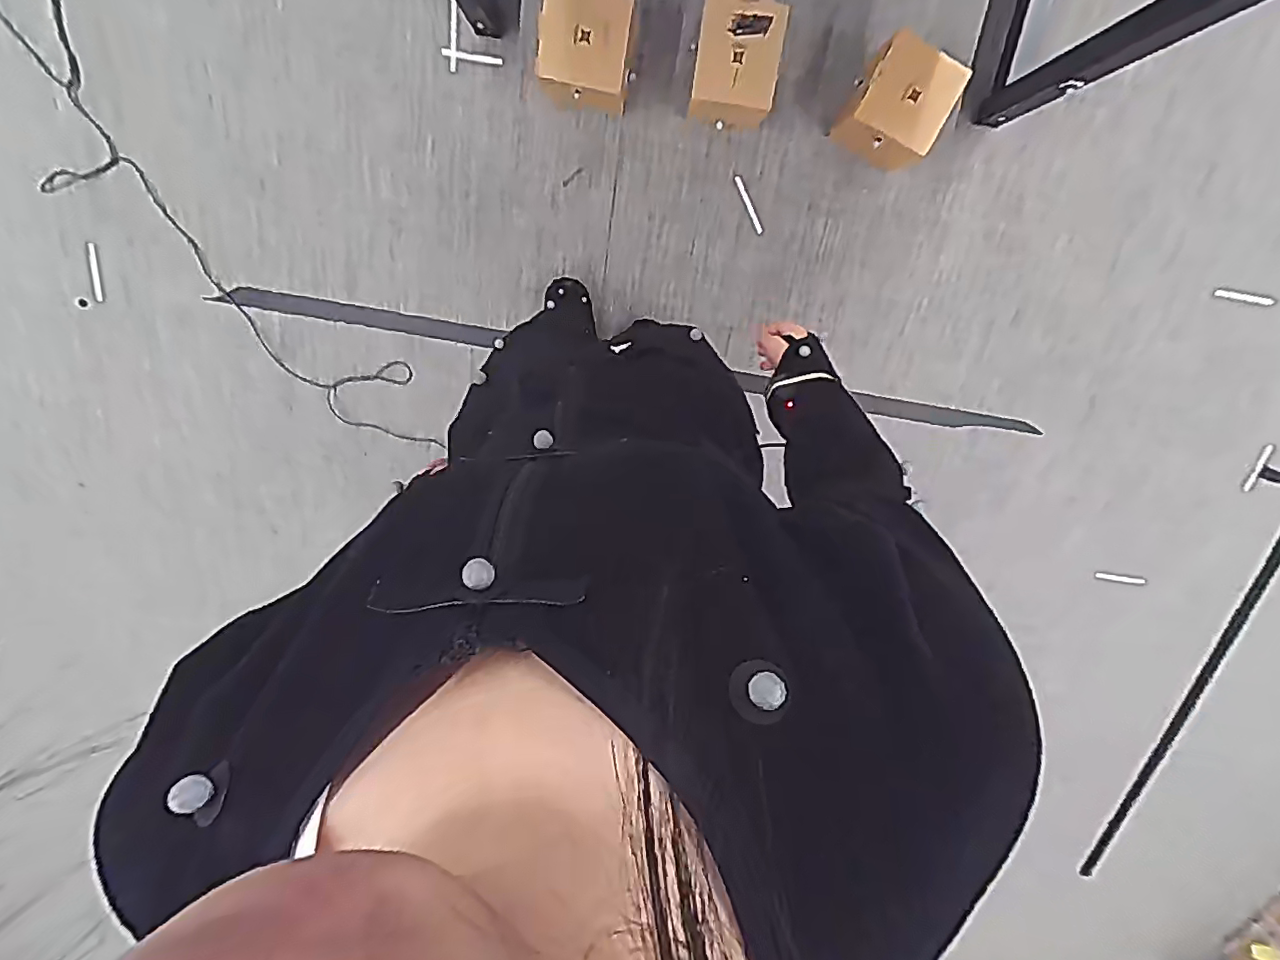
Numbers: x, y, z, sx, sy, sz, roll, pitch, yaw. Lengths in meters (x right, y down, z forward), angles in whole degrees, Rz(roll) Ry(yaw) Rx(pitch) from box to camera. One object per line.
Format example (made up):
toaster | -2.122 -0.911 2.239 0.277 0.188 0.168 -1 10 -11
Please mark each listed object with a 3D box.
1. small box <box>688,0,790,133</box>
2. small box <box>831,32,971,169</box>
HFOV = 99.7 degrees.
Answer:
small box | 0.196 -0.860 1.134 0.168 0.176 0.179 8 110 -2
small box | 0.545 -0.794 1.156 0.179 0.176 0.168 25 108 -7
